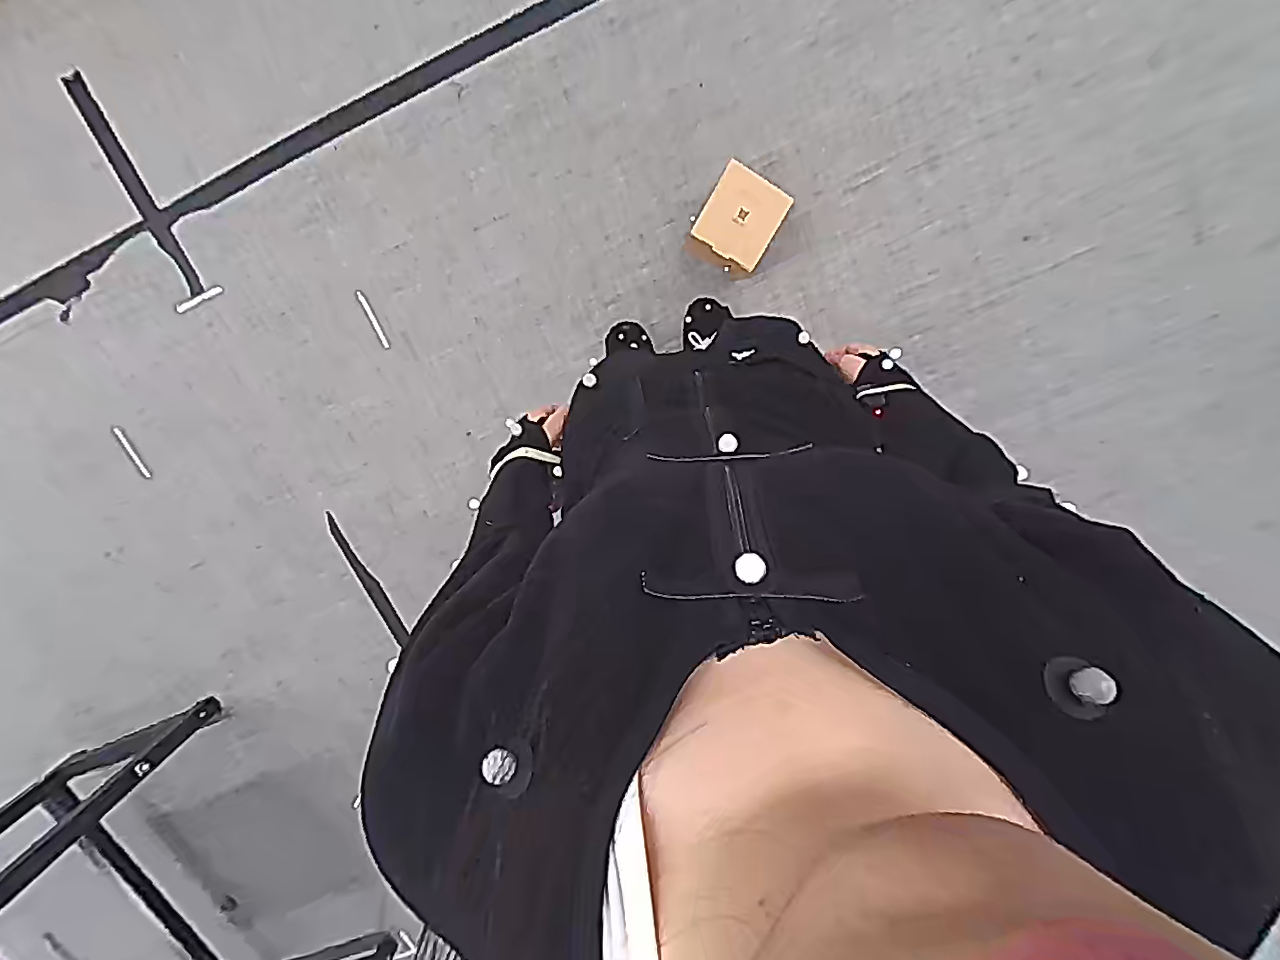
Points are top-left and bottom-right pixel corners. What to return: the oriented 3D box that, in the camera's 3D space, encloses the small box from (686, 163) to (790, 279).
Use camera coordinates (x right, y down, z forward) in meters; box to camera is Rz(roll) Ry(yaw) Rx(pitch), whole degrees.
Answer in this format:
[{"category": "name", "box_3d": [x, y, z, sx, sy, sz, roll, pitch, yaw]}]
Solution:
[{"category": "small box", "box_3d": [0.218, -0.592, 1.265, 0.168, 0.176, 0.179, 29, 103, -8]}]
